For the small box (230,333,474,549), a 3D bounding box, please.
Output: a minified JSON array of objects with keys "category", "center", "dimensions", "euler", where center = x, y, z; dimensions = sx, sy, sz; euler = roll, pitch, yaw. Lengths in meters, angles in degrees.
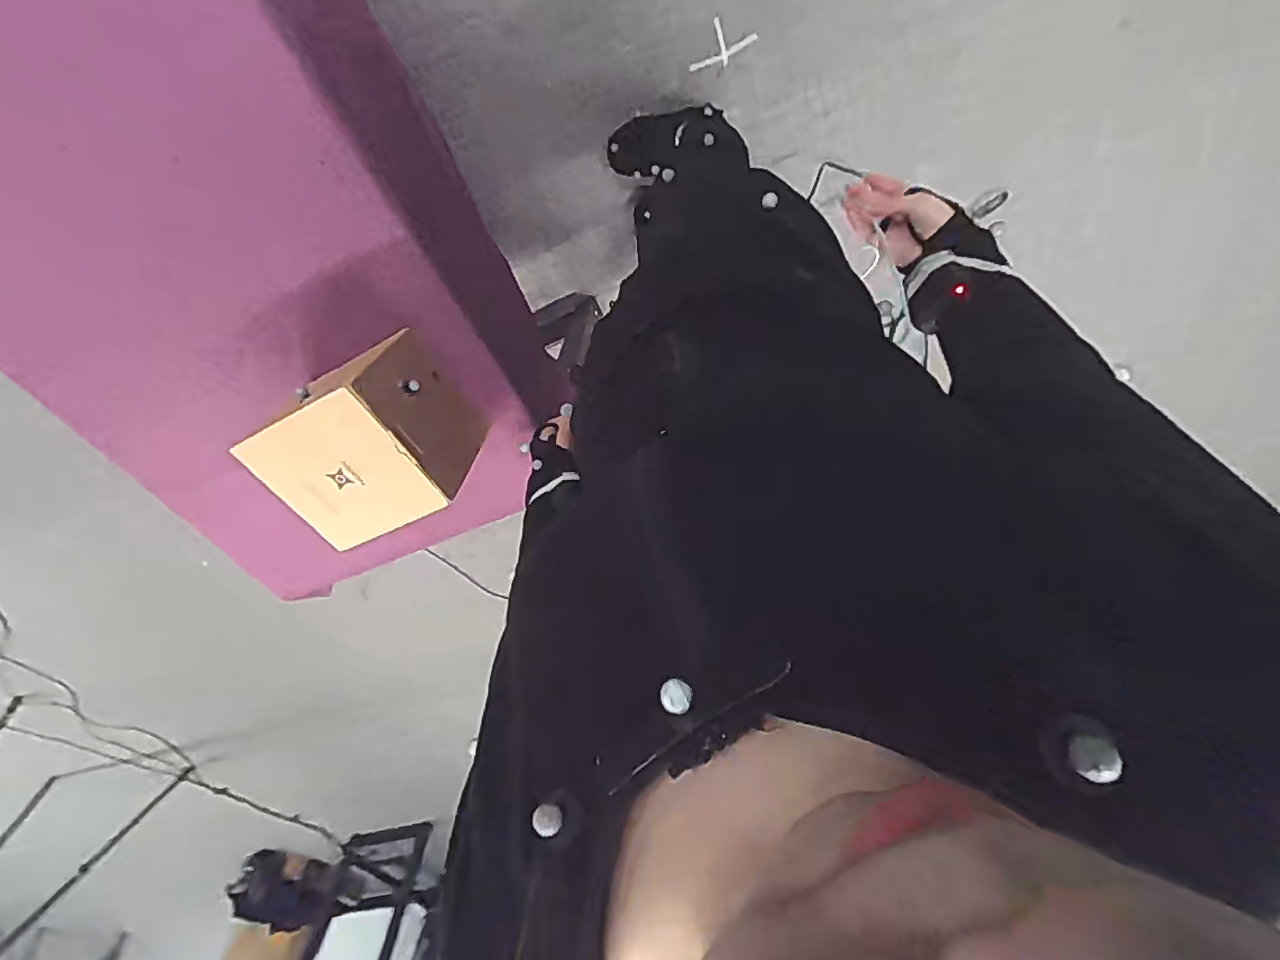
[{"category":"small box","center":[-0.324,-0.052,0.656],"dimensions":[0.179,0.176,0.168],"euler":[-21,122,17]}]
